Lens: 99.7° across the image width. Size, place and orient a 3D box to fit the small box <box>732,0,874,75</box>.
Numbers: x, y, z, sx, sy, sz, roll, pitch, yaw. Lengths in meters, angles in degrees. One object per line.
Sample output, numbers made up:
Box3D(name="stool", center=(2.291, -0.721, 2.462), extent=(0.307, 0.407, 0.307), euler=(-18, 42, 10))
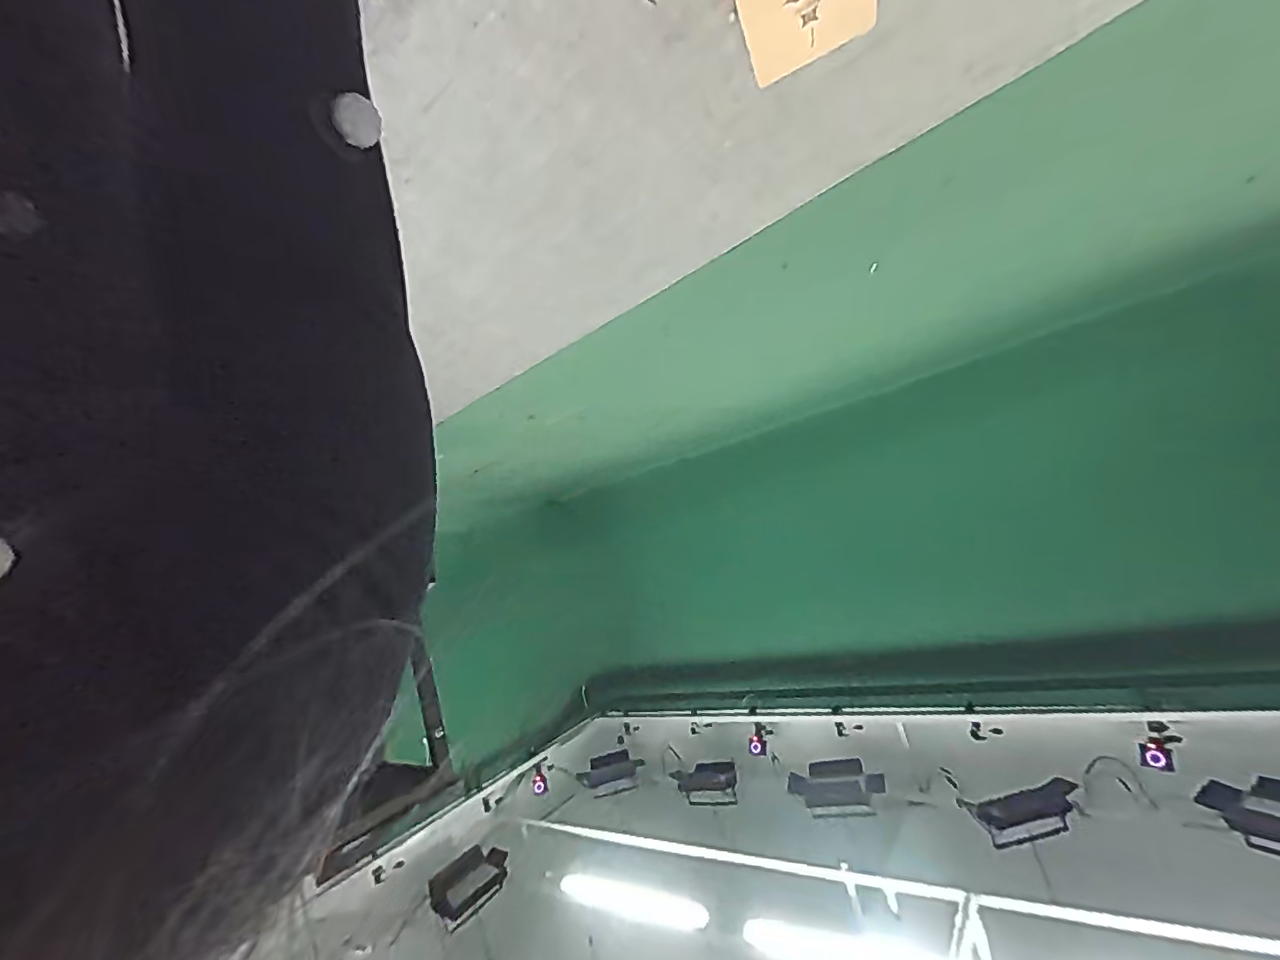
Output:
Box3D(name="small box", center=(0.187, -0.681, 0.678), extent=(0.168, 0.176, 0.179), euler=(-16, 176, 22))
